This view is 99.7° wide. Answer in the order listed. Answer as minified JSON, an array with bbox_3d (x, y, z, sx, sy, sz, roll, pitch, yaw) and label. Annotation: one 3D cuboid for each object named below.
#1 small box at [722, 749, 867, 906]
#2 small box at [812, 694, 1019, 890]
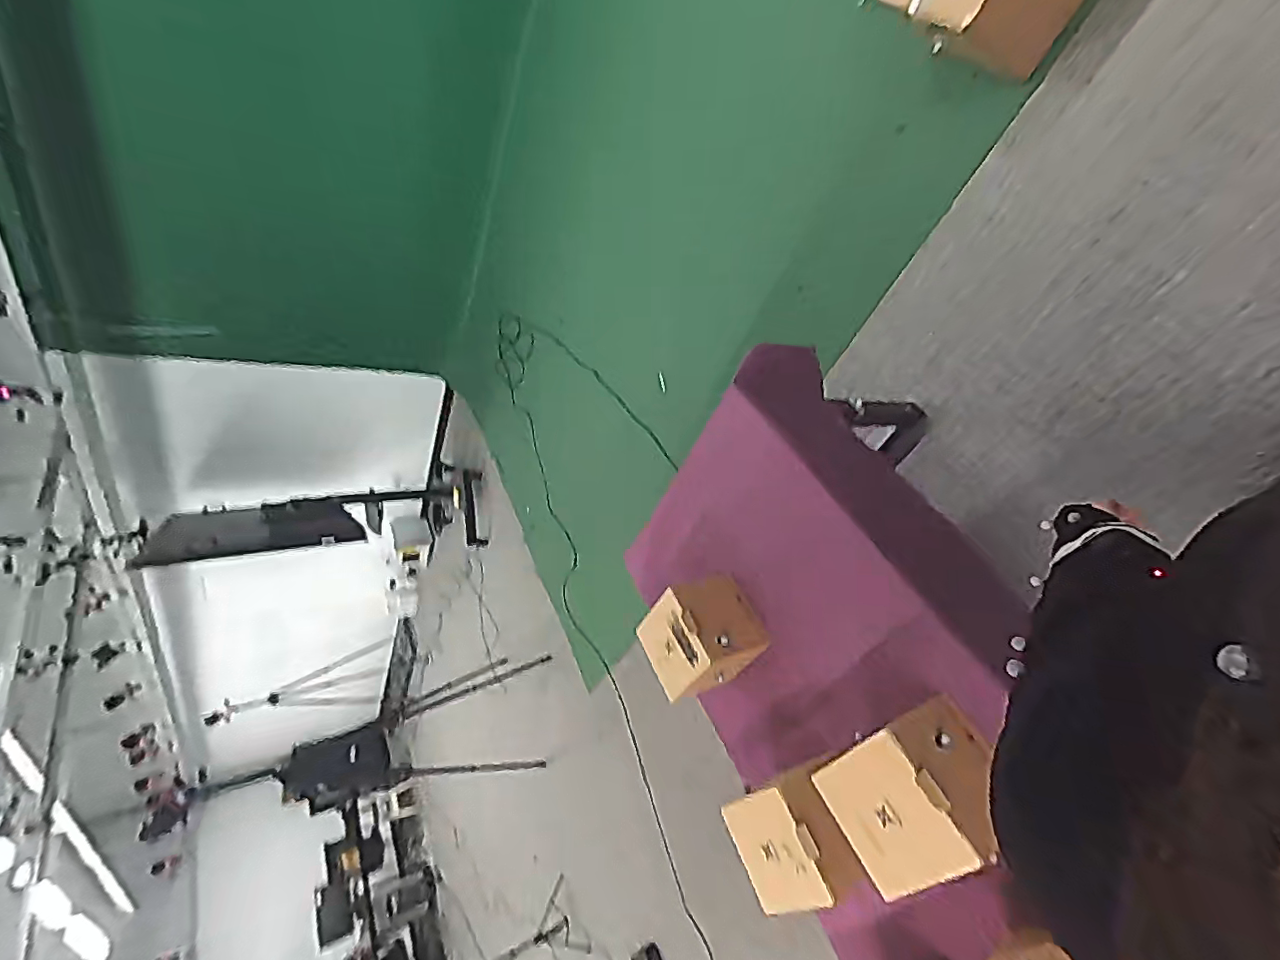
[{"bbox_3d":[0.280,0.594,0.931,0.179,0.176,0.168,-54,51,41],"label":"small box"},{"bbox_3d":[0.390,0.431,0.765,0.168,0.176,0.179,59,137,34],"label":"small box"}]
